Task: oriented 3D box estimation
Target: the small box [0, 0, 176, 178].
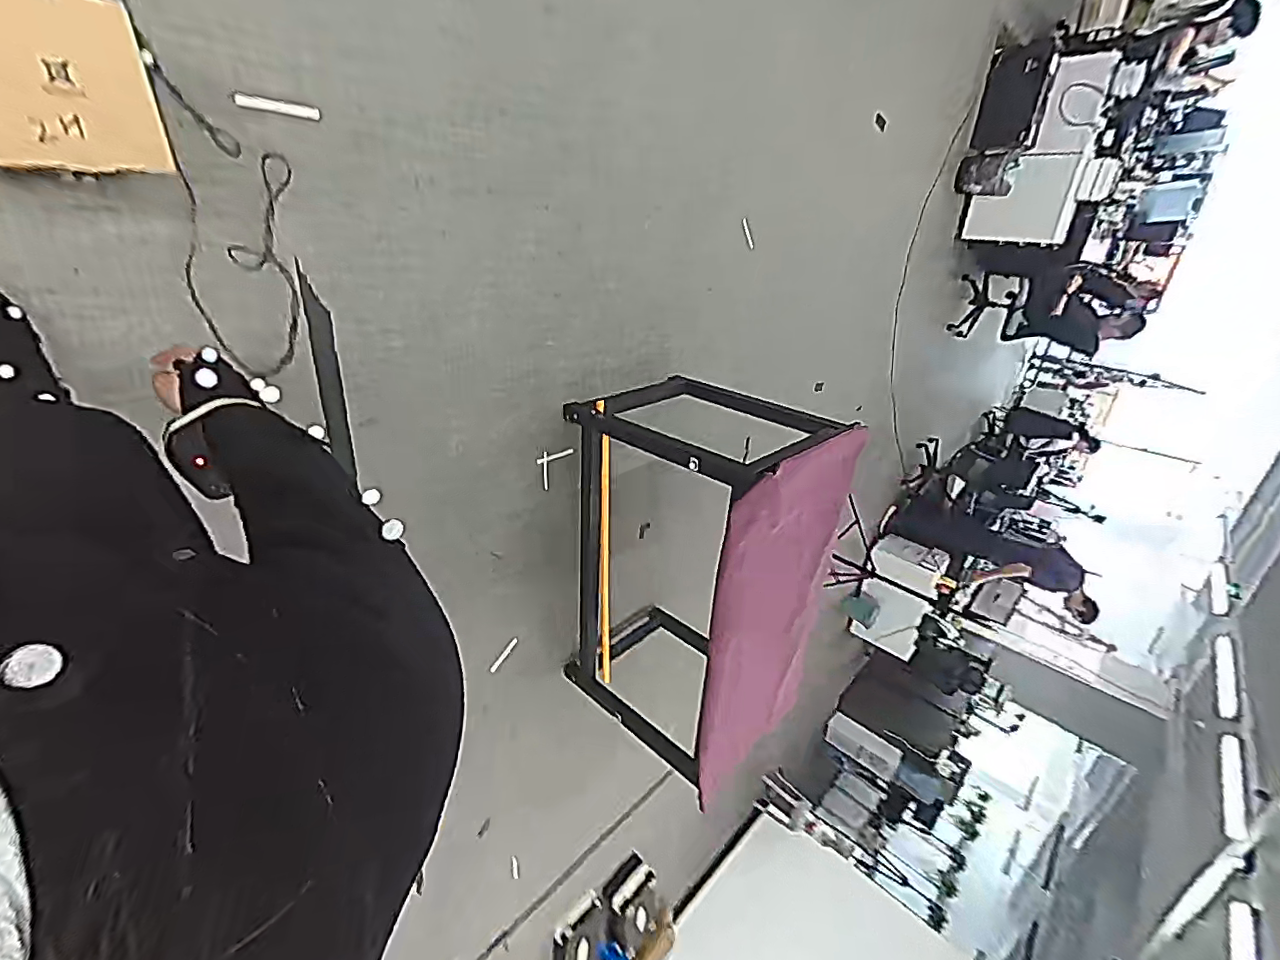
[{"bbox_3d":[-0.710,-0.474,0.656,0.168,0.176,0.179,-23,126,-41],"label":"small box"}]
